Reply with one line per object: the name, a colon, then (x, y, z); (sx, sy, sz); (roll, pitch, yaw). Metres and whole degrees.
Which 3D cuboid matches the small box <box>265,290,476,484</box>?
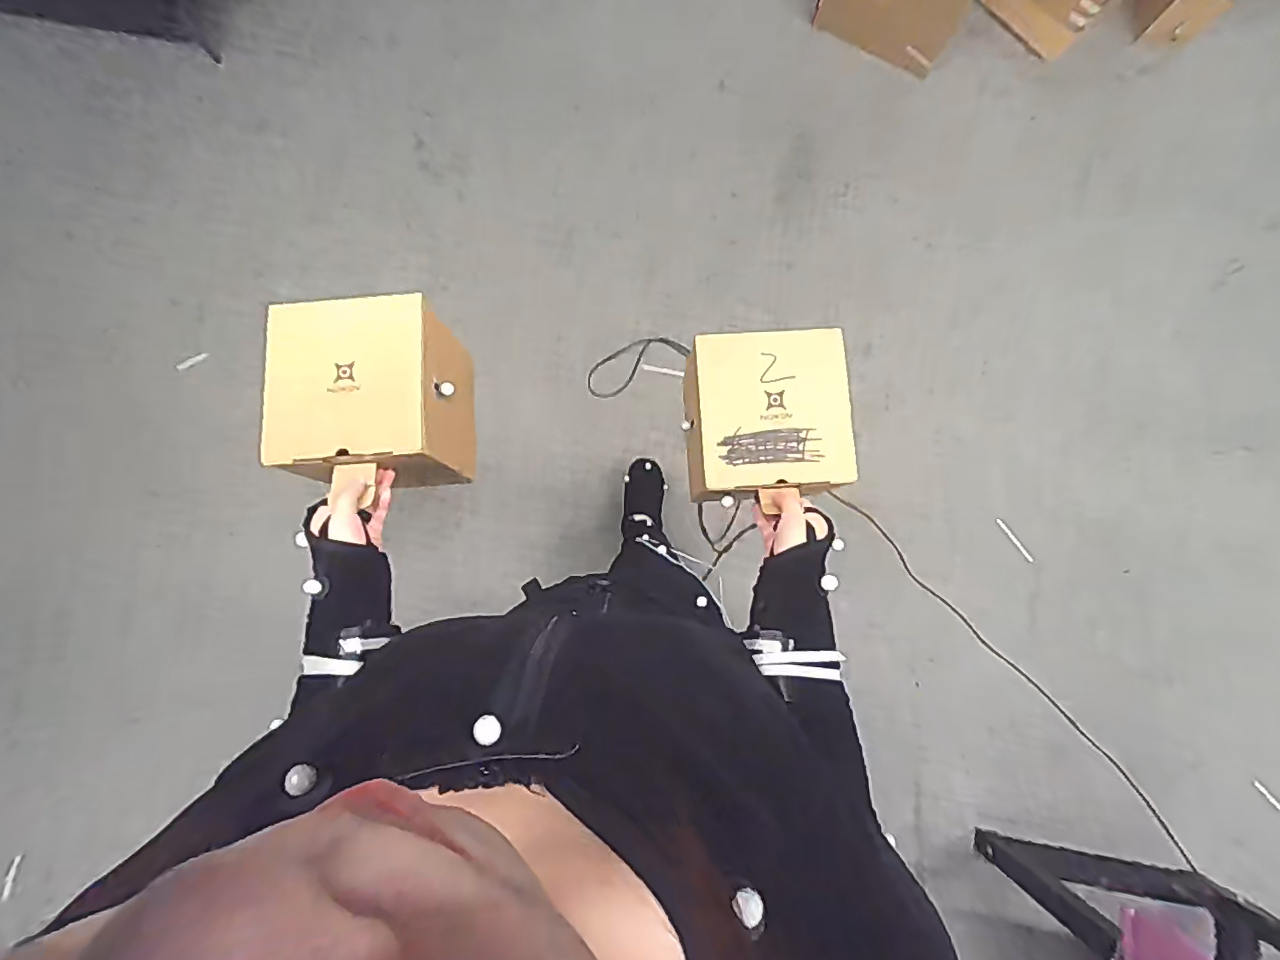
small box: (-0.300, -0.098, 0.636); (0.168, 0.176, 0.179); (-4, 81, 0)
